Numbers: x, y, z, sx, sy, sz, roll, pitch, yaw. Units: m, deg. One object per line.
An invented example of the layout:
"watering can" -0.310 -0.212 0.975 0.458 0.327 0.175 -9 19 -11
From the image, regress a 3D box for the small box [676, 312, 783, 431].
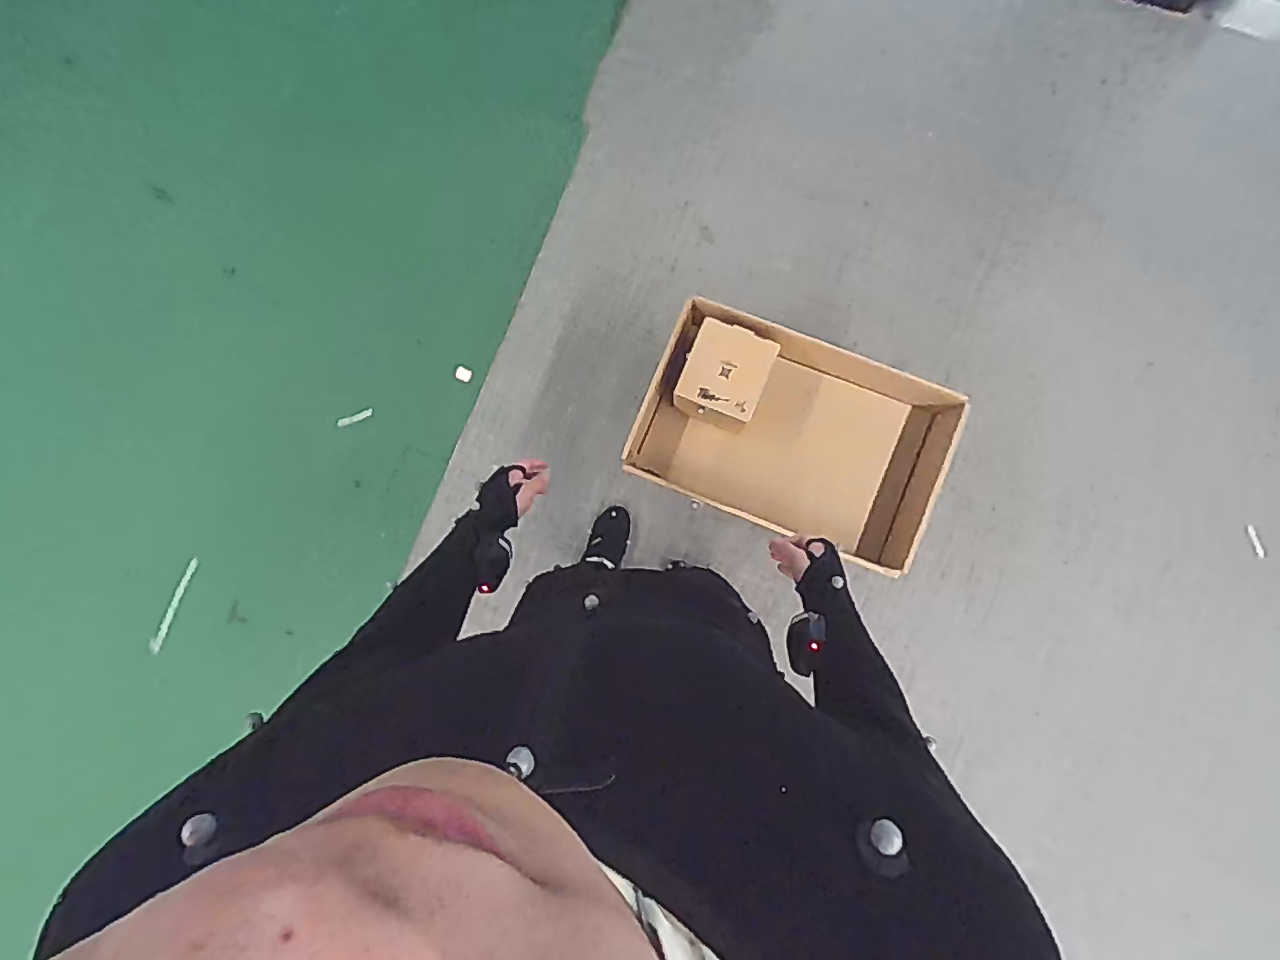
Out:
"small box" 0.182 -0.224 1.161 0.168 0.176 0.179 24 87 4
